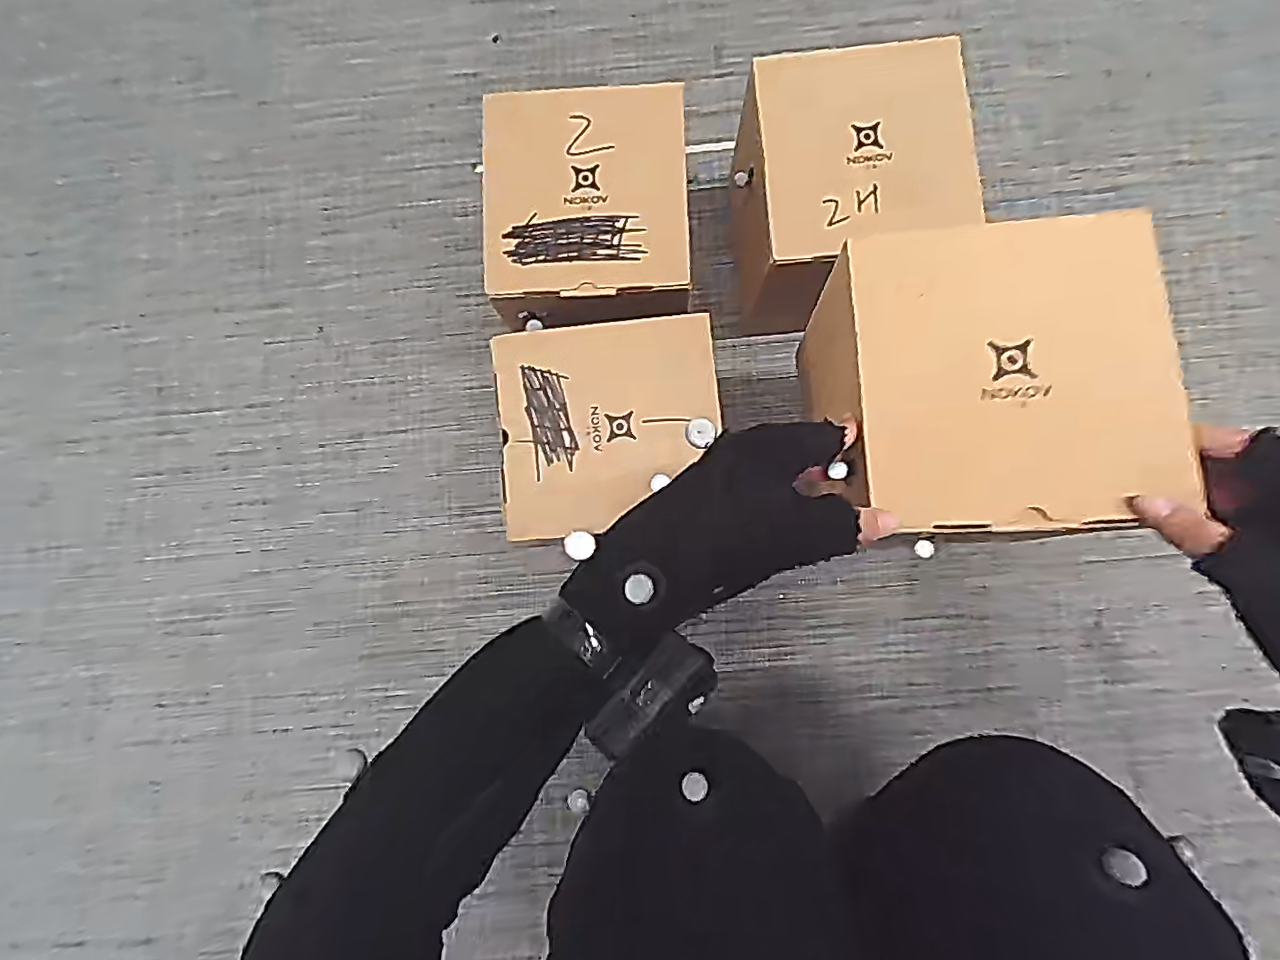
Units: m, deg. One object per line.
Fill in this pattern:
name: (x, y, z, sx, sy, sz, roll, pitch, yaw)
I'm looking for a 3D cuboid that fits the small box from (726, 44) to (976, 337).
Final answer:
small box: (0.177, -0.253, 0.509, 0.168, 0.176, 0.179, -5, 85, 2)
